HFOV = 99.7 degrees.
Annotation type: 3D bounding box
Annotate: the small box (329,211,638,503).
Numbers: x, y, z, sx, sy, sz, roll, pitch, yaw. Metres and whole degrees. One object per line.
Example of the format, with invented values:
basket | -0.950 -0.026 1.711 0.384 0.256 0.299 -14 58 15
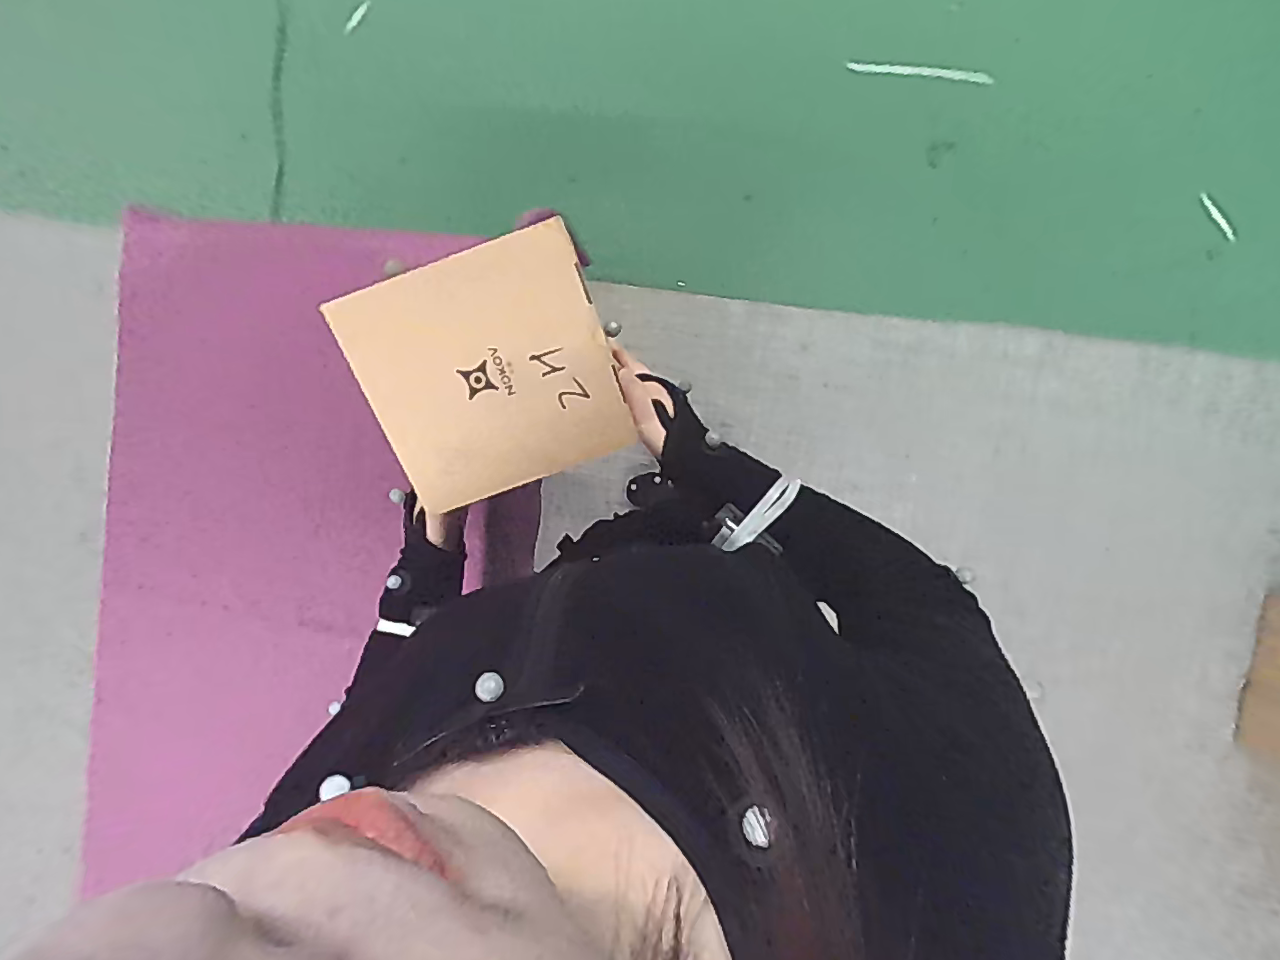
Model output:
small box | -0.109 -0.103 0.459 0.179 0.176 0.168 -18 109 2
